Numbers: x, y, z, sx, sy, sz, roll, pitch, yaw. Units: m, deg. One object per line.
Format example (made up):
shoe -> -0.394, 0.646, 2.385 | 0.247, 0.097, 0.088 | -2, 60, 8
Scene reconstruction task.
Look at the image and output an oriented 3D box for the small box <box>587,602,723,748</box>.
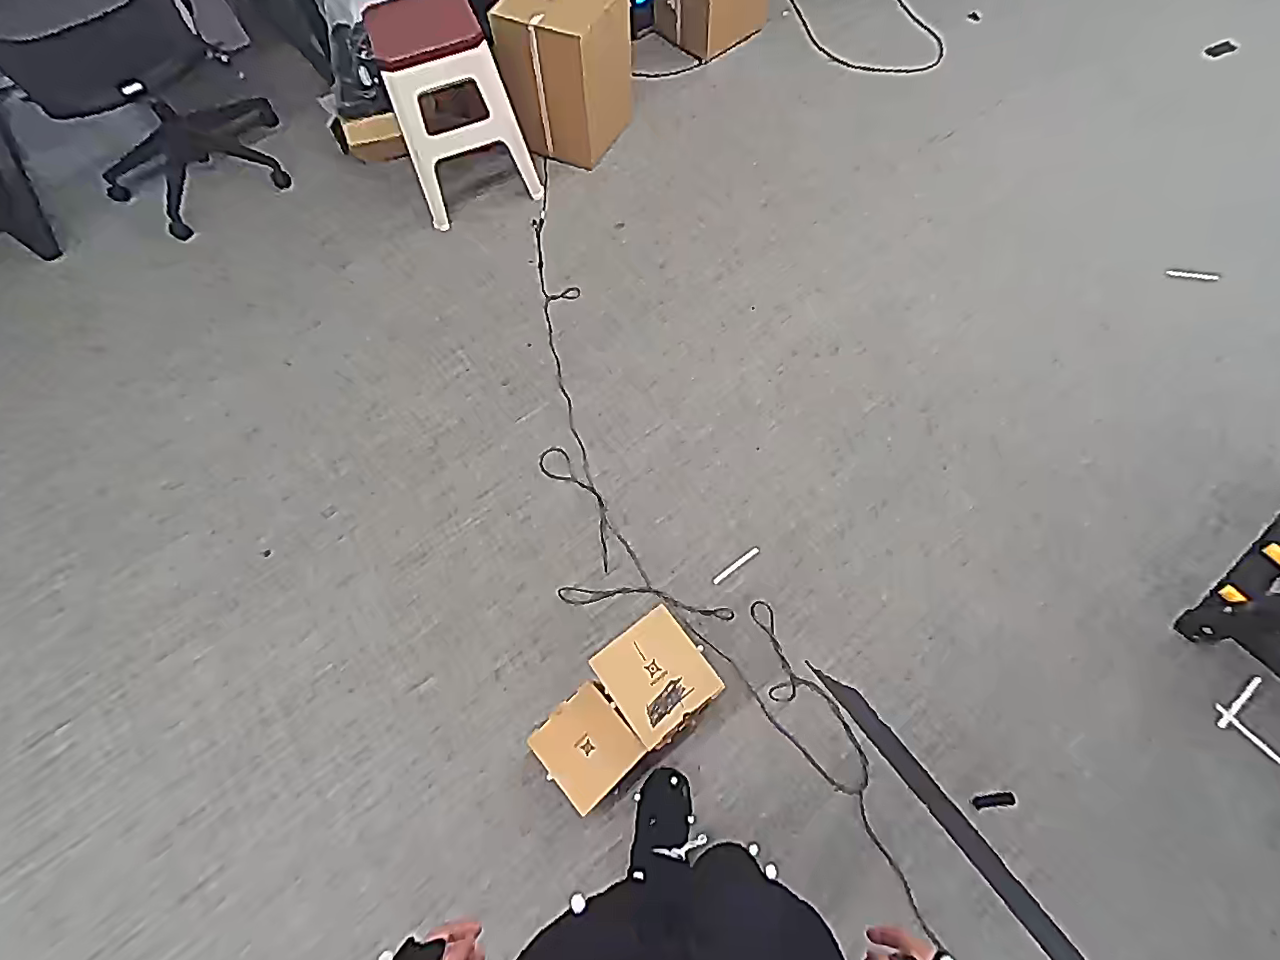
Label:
small box -> 0.029, 0.351, 0.978 | 0.168, 0.176, 0.179 | -36, 69, -11
